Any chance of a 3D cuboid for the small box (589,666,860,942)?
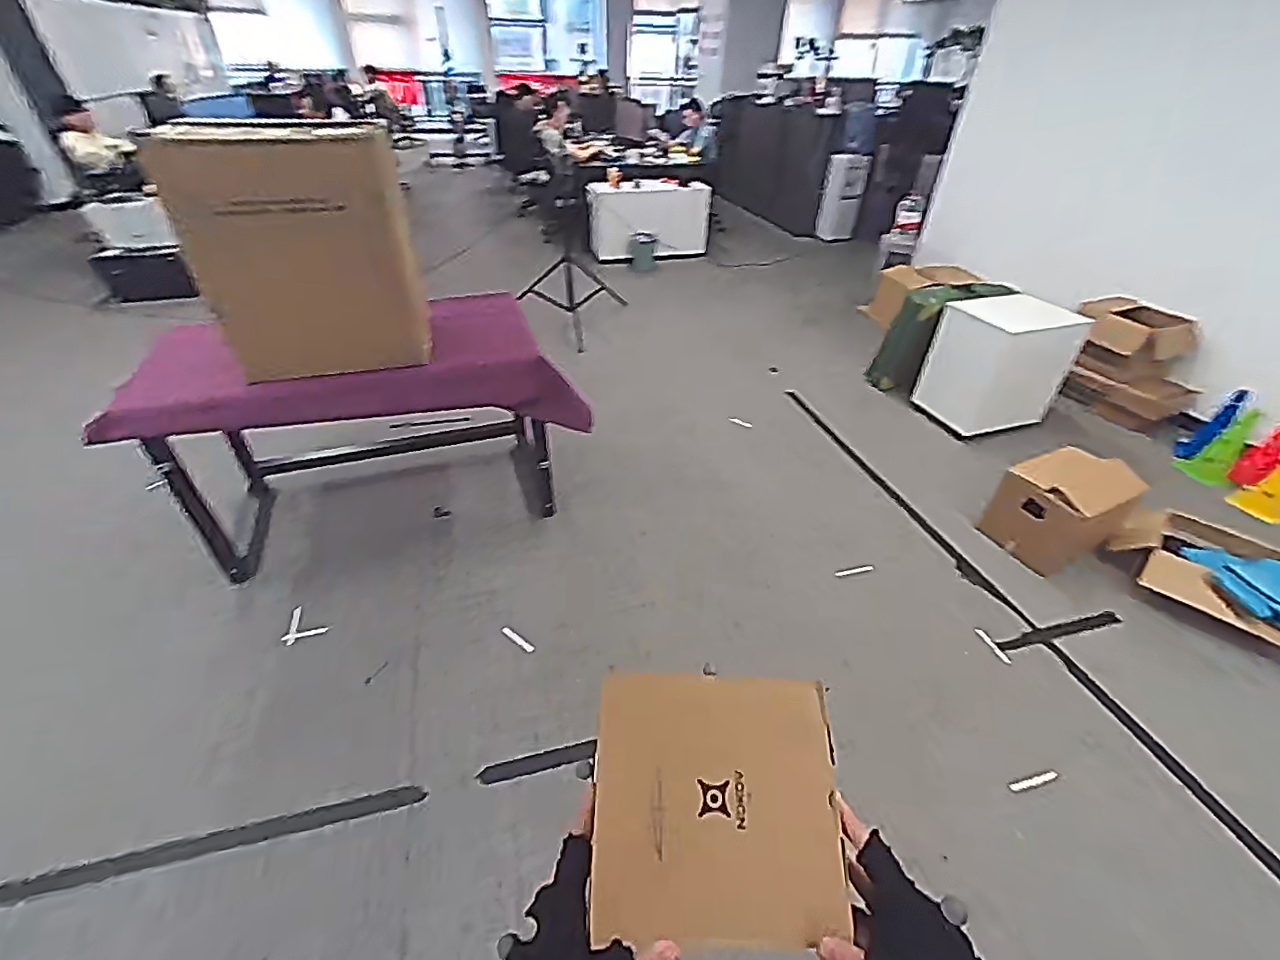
[{"bbox_3d":[0.050,0.253,0.446,0.179,0.176,0.168,2,62,-4],"label":"small box"}]
